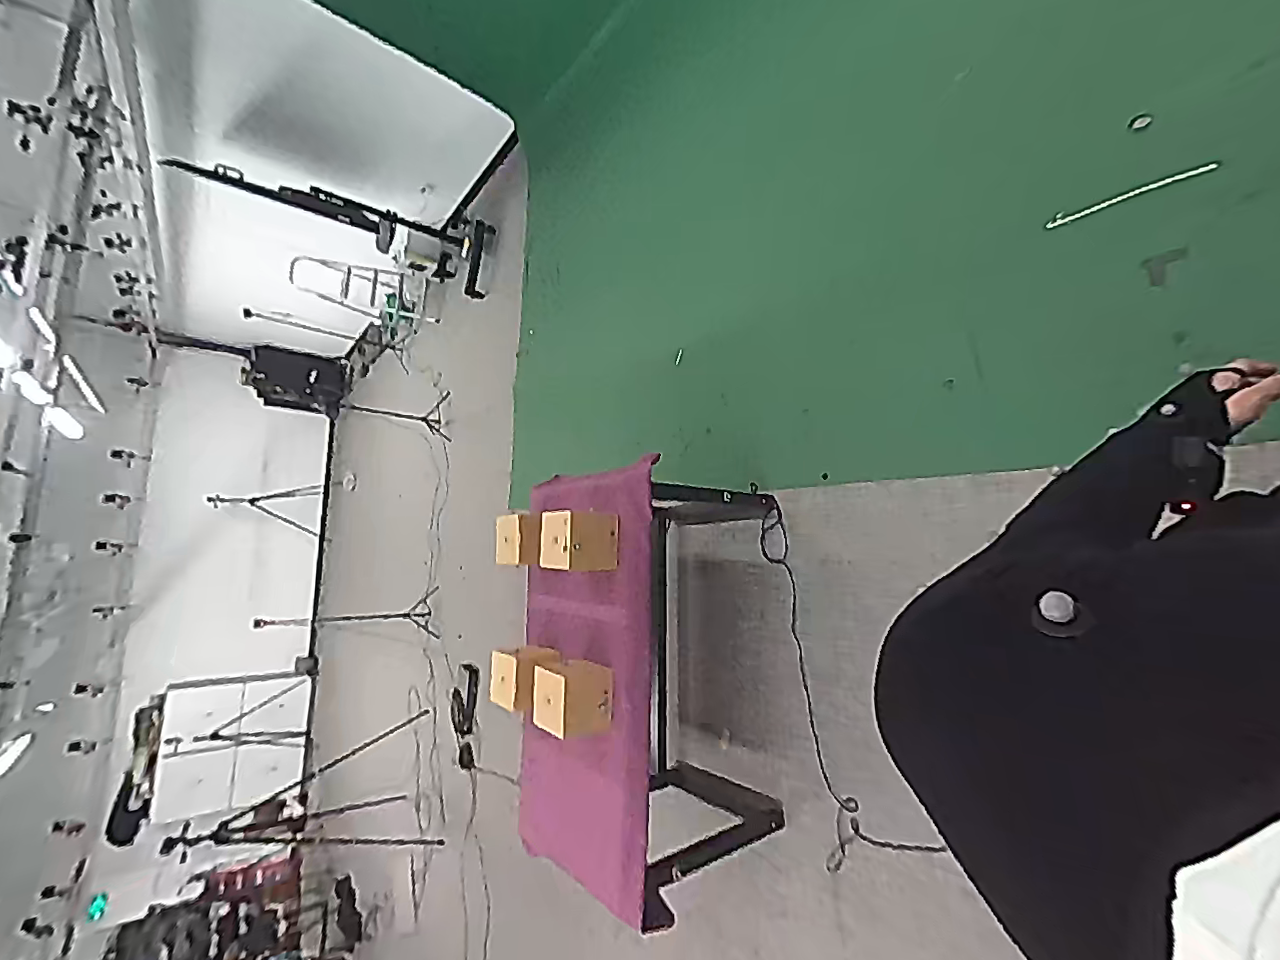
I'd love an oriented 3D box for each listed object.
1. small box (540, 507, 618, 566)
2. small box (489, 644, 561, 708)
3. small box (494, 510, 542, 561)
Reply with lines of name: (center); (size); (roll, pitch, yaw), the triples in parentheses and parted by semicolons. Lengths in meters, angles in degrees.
small box: (-0.184, 0.168, 1.615); (0.179, 0.176, 0.168); (-7, 81, 53)
small box: (-0.383, 0.644, 1.797); (0.179, 0.176, 0.168); (-8, 78, 49)
small box: (-0.387, 0.194, 1.860); (0.179, 0.176, 0.168); (-10, 80, 50)
